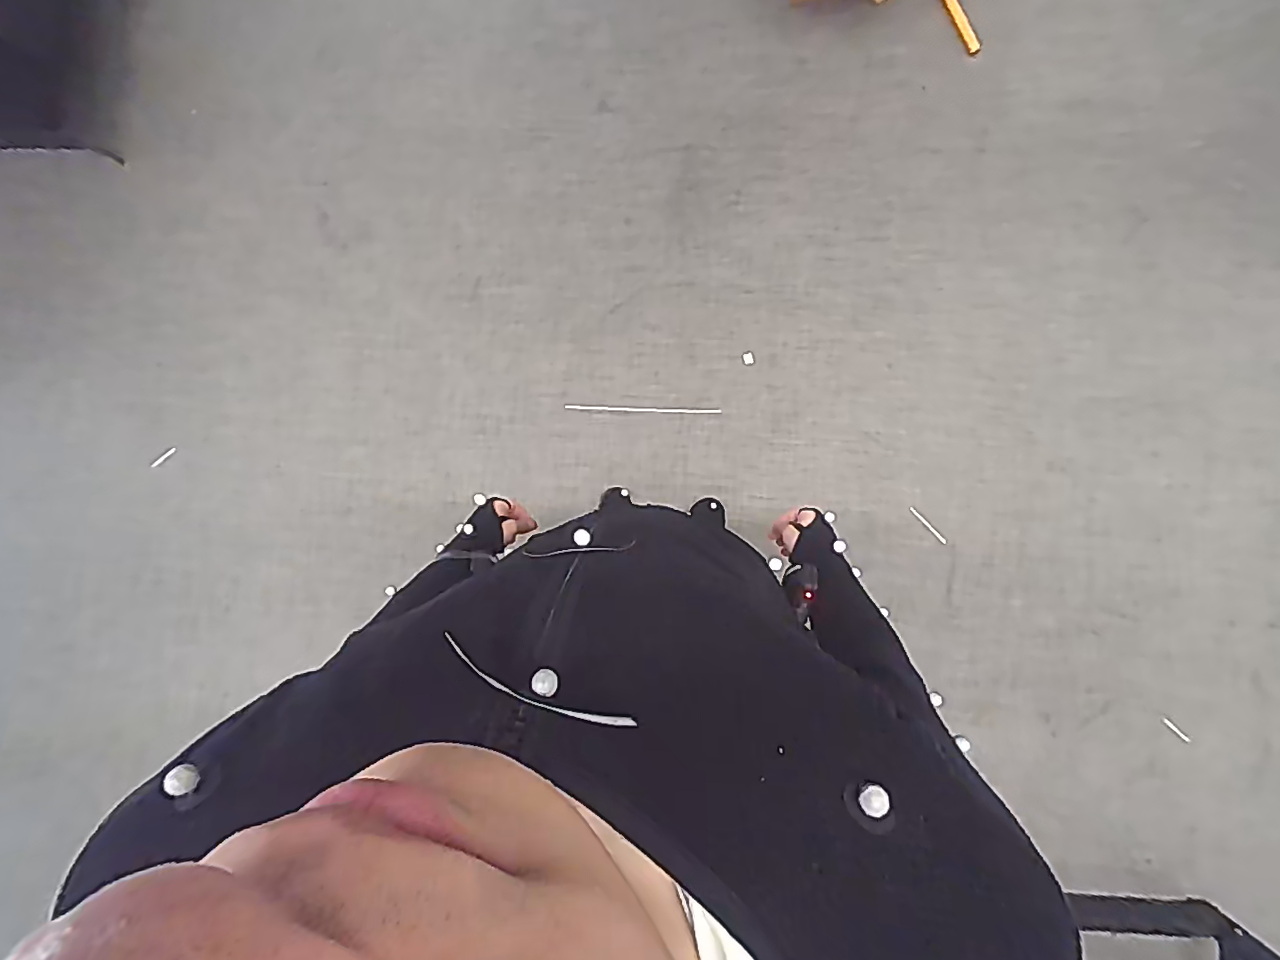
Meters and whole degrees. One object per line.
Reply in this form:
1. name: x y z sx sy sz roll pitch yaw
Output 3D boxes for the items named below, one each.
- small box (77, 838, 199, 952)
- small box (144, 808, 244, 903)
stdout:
1. small box: -1.319 1.088 1.433 0.168 0.176 0.179 3 89 4
2. small box: -1.317 1.099 1.595 0.179 0.176 0.168 4 87 3
